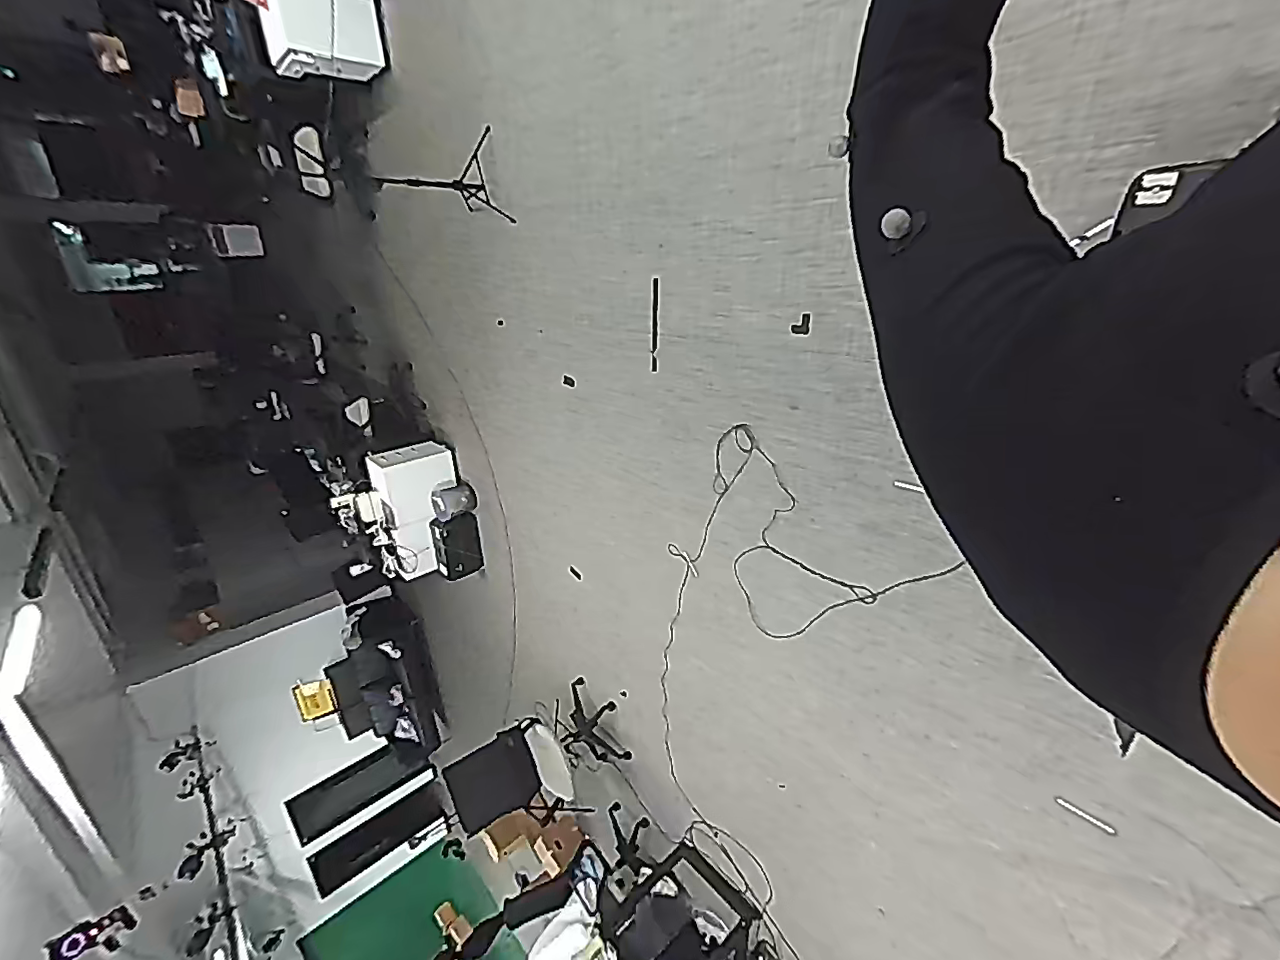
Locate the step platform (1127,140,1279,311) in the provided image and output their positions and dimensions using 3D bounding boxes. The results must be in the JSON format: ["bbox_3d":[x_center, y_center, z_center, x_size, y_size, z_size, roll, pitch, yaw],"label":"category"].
[{"bbox_3d":[1.265,-0.428,0.889,0.684,0.204,0.286,19,120,44],"label":"step platform"}]
